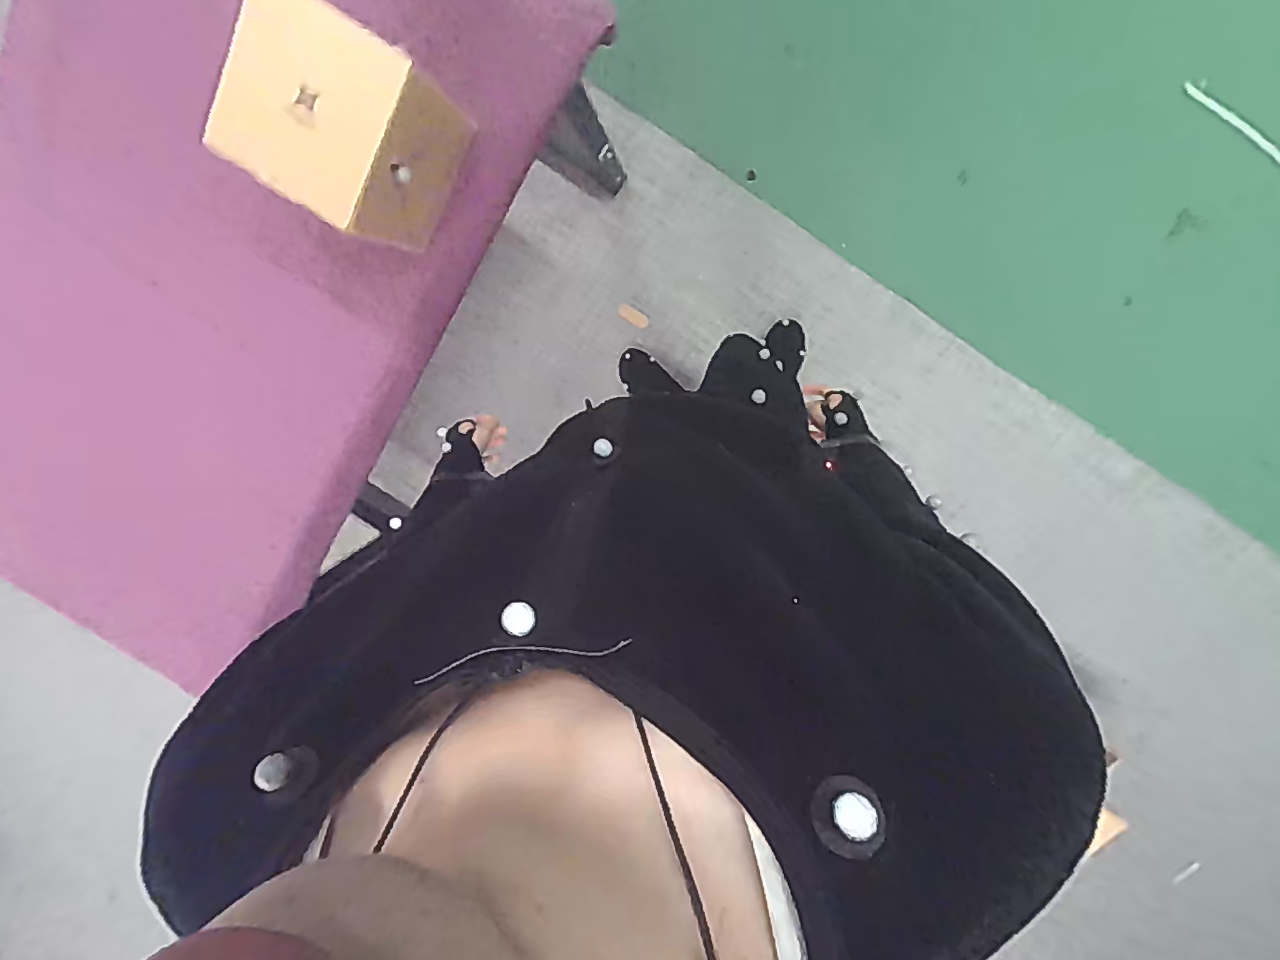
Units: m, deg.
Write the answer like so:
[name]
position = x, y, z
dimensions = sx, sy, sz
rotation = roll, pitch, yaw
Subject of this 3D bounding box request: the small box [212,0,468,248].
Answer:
[small box]
position = -0.318, -0.390, 0.611
dimensions = 0.168, 0.176, 0.179
rotation = 31, 107, -4
